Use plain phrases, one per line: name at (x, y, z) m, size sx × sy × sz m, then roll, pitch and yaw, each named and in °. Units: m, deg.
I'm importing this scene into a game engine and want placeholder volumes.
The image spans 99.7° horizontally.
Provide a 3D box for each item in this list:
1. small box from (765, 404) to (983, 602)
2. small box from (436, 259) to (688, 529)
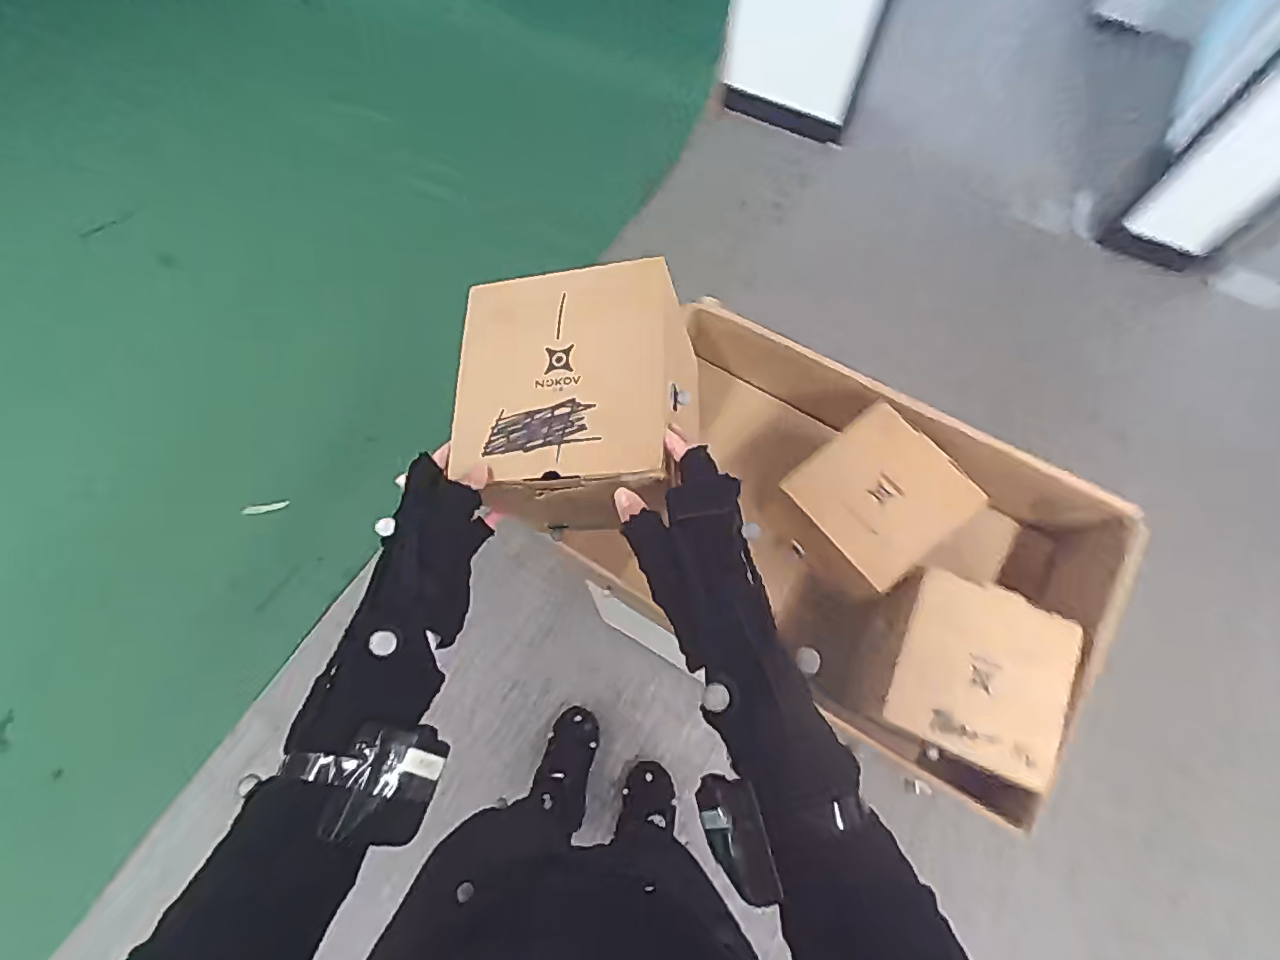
small box at (0.286, 0.039, 0.709) m, size 0.179 × 0.176 × 0.168 m, roll -38°, pitch 73°, yaw -7°
small box at (-0.053, -0.056, 0.476) m, size 0.168 × 0.176 × 0.179 m, roll -5°, pitch 72°, yaw 13°
